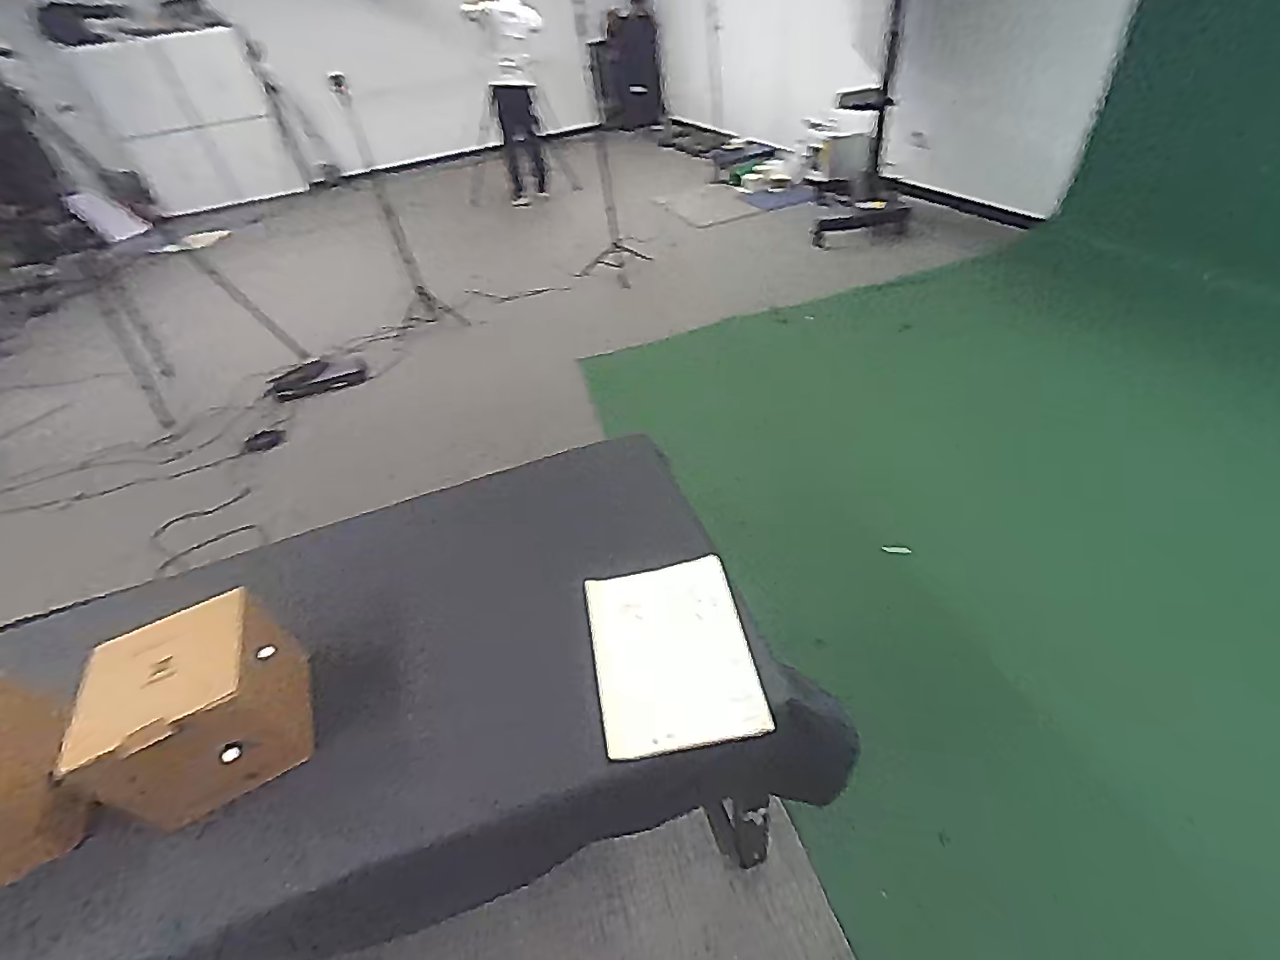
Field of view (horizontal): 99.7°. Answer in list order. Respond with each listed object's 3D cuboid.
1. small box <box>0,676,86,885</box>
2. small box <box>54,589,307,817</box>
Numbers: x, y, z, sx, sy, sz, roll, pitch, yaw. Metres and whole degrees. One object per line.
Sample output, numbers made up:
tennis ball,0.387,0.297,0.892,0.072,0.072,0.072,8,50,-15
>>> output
small box,-0.787,0.365,0.608,0.179,0.176,0.168,-25,42,-19
small box,-0.536,0.276,0.664,0.168,0.176,0.179,-24,41,-18
